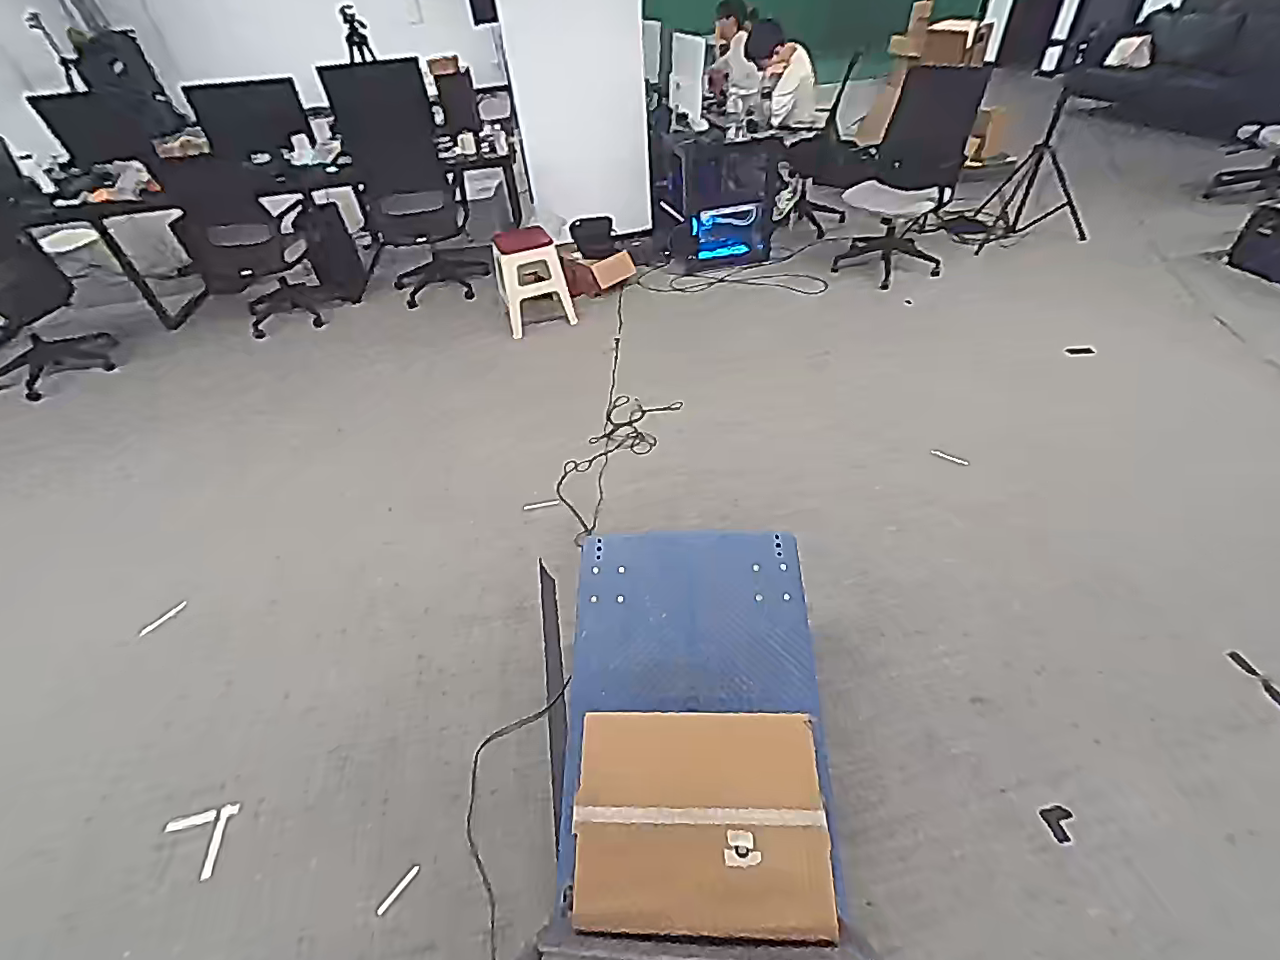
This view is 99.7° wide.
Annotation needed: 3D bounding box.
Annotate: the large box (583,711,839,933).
[{"bbox_3d":[0.113,0.634,1.032,0.408,0.320,0.320,-2,60,3],"label":"large box"}]
